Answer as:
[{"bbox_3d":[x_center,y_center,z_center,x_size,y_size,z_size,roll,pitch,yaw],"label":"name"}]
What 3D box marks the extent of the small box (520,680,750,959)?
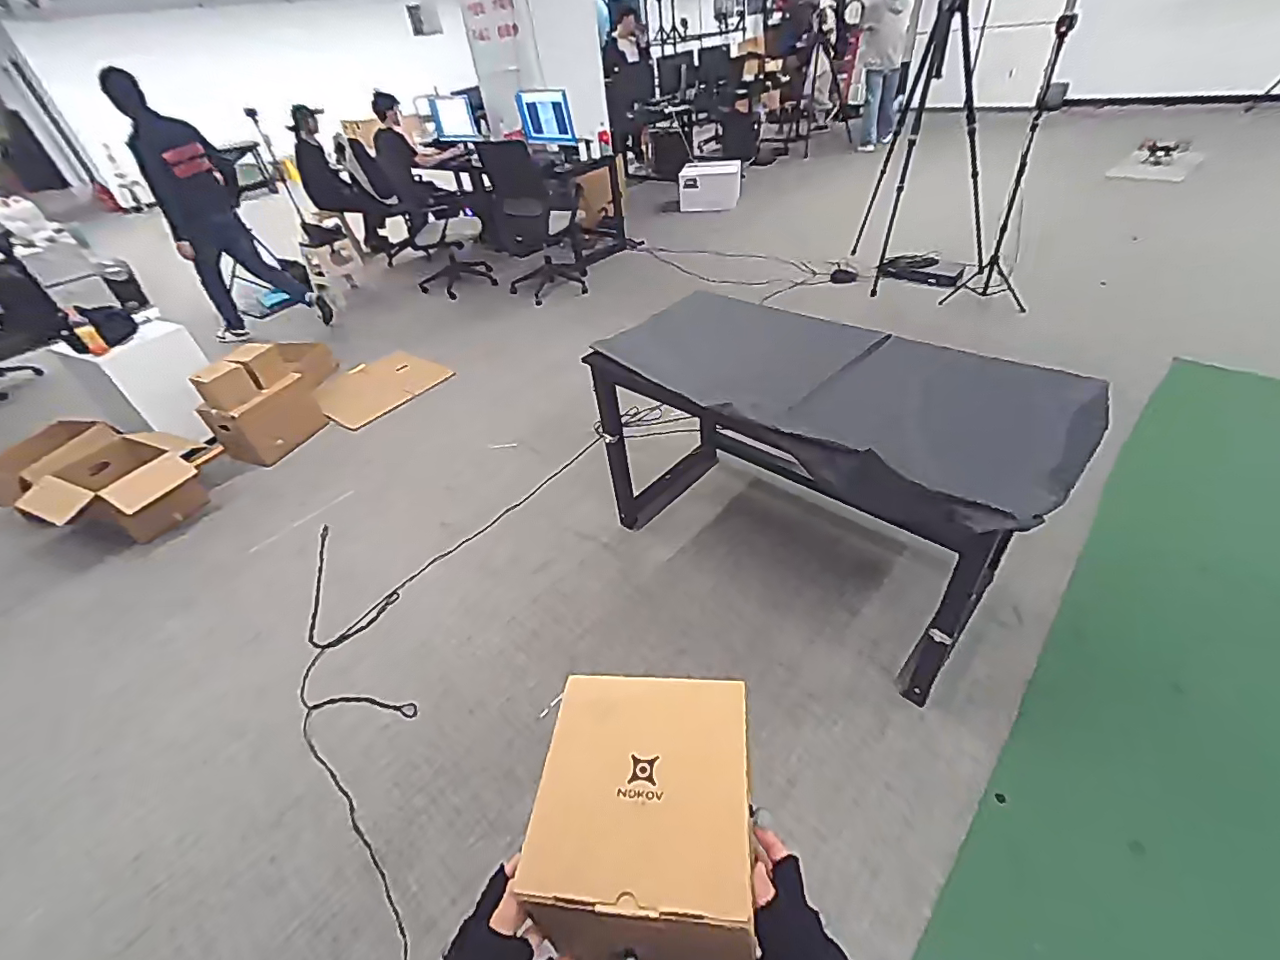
[{"bbox_3d":[0.013,0.307,0.487,0.168,0.176,0.179,-2,38,11],"label":"small box"}]
